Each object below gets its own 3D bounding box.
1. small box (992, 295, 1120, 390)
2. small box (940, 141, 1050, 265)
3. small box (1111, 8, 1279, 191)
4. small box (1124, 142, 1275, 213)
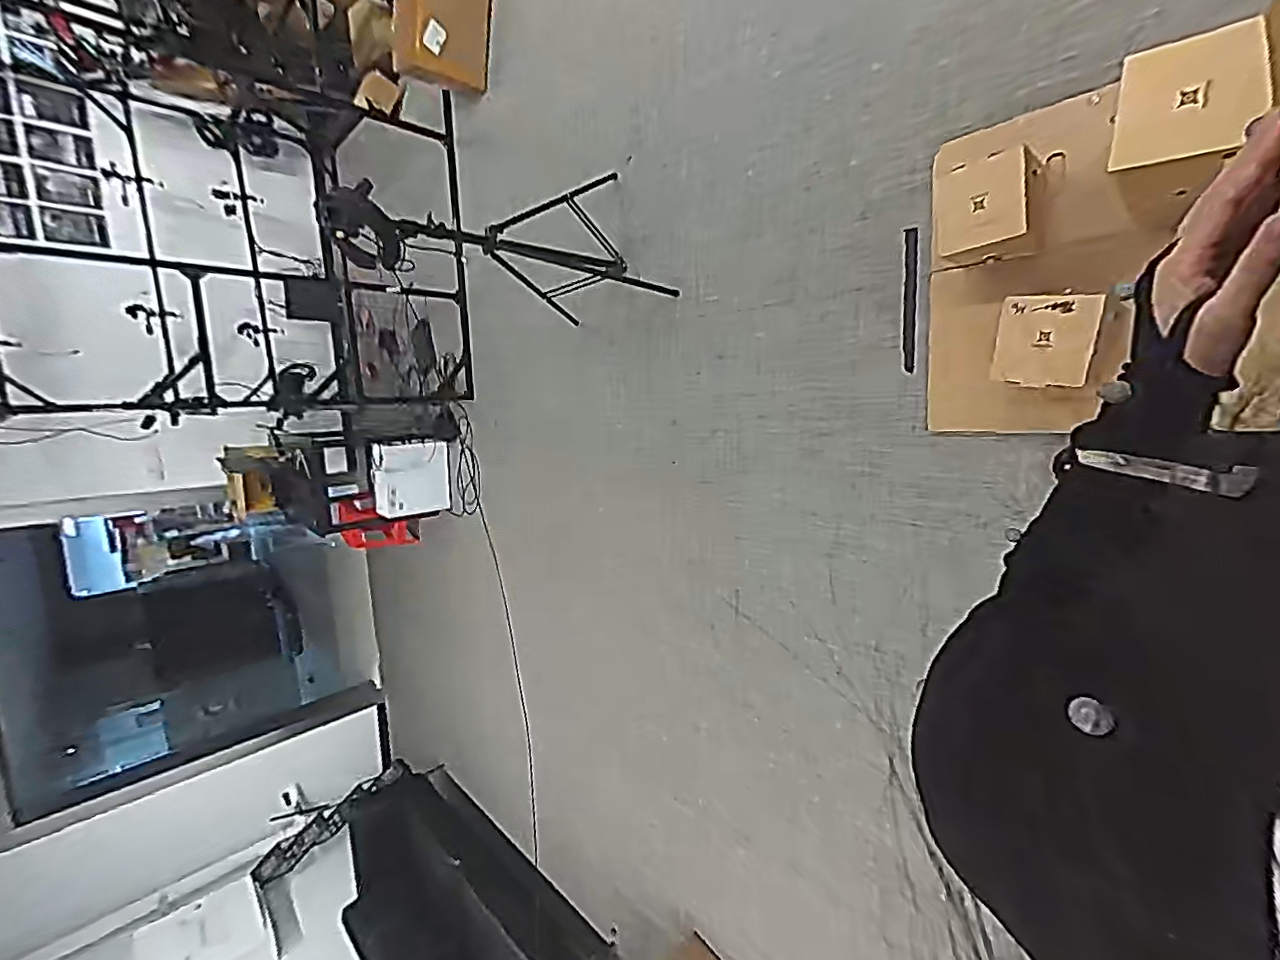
[{"bbox_3d":[0.865,-0.288,1.124,0.168,0.176,0.179,18,112,43],"label":"small box"},{"bbox_3d":[0.771,-0.586,1.173,0.168,0.176,0.179,-1,97,48],"label":"small box"},{"bbox_3d":[0.863,-0.568,0.835,0.179,0.176,0.168,11,105,44],"label":"small box"},{"bbox_3d":[0.980,-0.588,0.946,0.179,0.176,0.168,6,103,45],"label":"small box"}]
